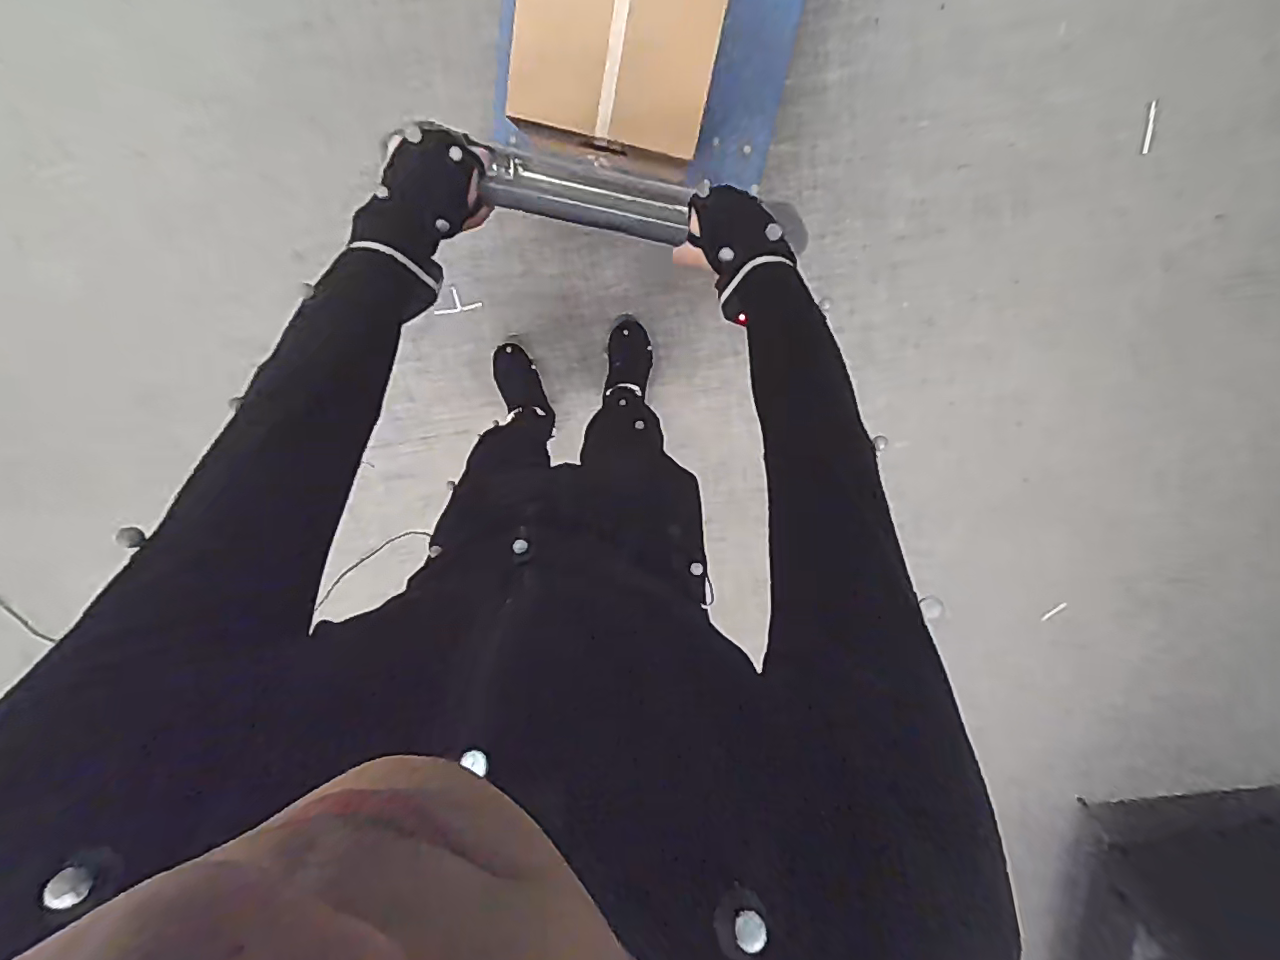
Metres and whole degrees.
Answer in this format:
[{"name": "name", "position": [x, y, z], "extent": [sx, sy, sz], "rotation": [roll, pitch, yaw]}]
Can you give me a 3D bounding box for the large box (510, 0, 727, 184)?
[{"name": "large box", "position": [-0.023, -0.790, 0.952], "extent": [0.320, 0.320, 0.408], "rotation": [11, 111, -5]}]
